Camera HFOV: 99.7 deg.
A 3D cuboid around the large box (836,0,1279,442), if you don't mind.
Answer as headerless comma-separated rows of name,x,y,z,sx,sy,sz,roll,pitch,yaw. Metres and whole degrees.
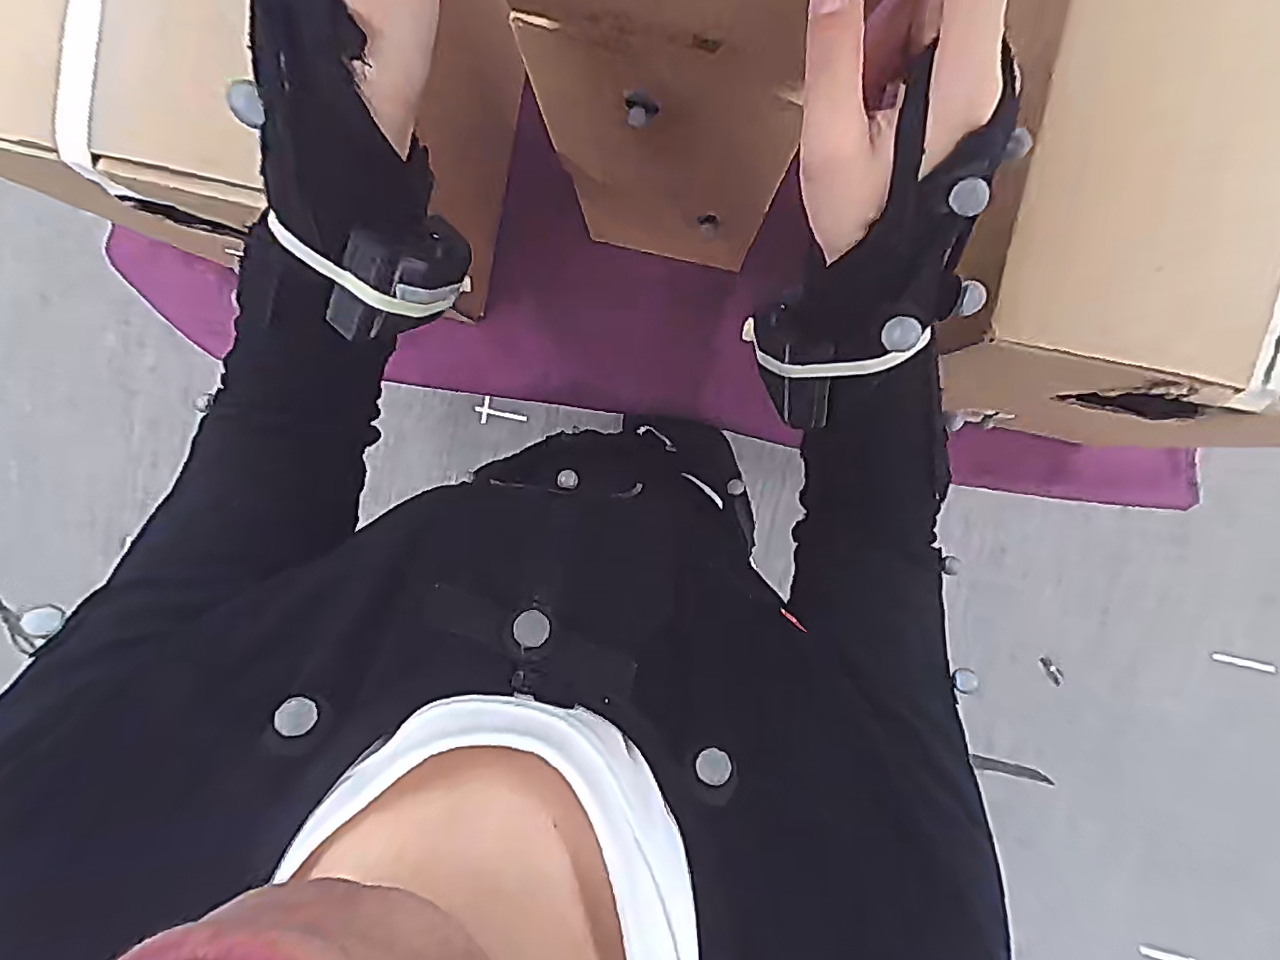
large box,0.394,-0.255,0.450,0.320,0.320,0.408,11,93,0
